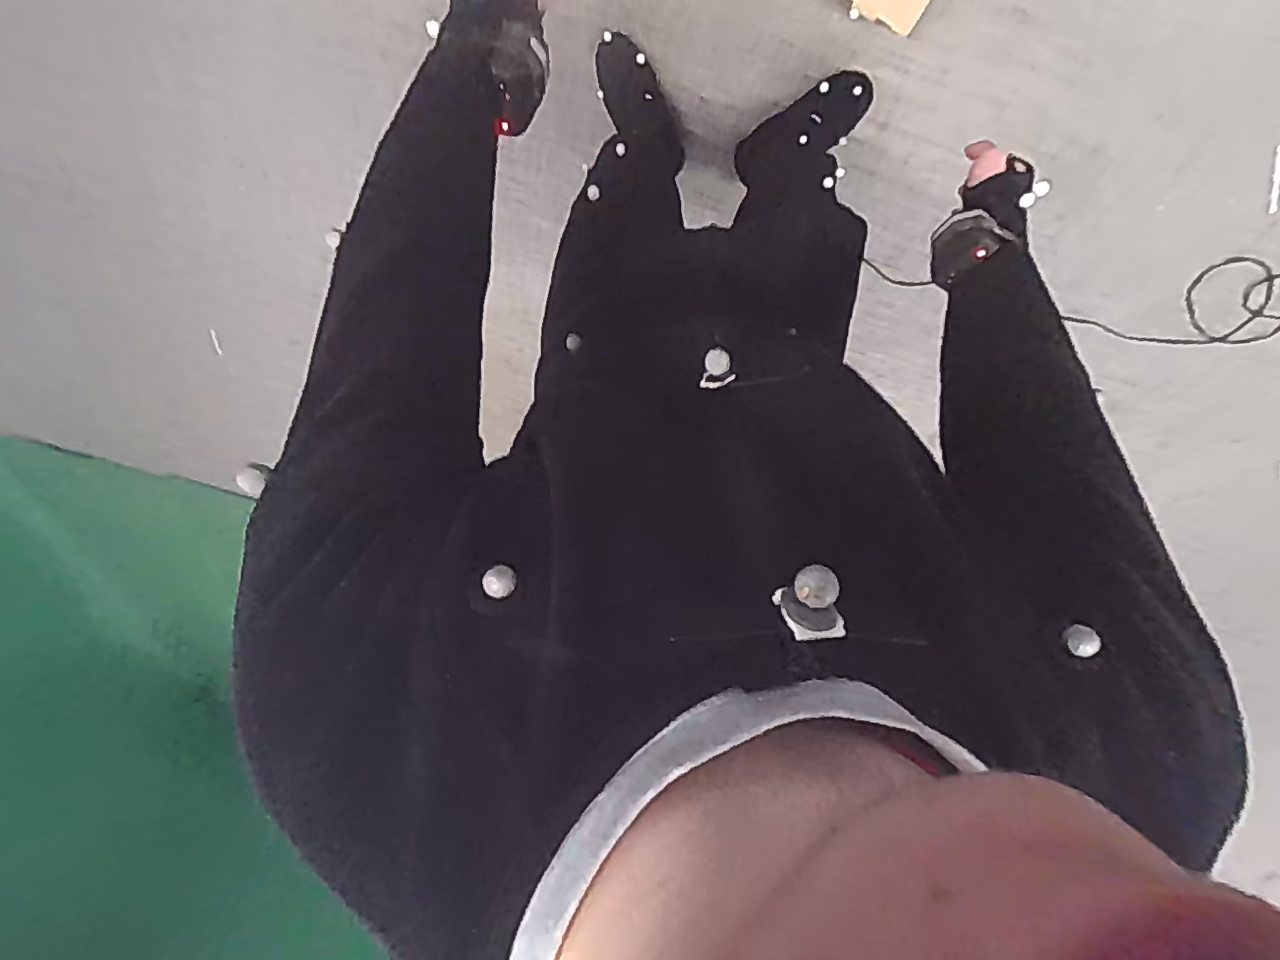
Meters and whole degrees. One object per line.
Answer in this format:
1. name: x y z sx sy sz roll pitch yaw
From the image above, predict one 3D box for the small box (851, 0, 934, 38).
1. small box: 0.423 -0.865 0.869 0.168 0.176 0.179 26 136 -10
